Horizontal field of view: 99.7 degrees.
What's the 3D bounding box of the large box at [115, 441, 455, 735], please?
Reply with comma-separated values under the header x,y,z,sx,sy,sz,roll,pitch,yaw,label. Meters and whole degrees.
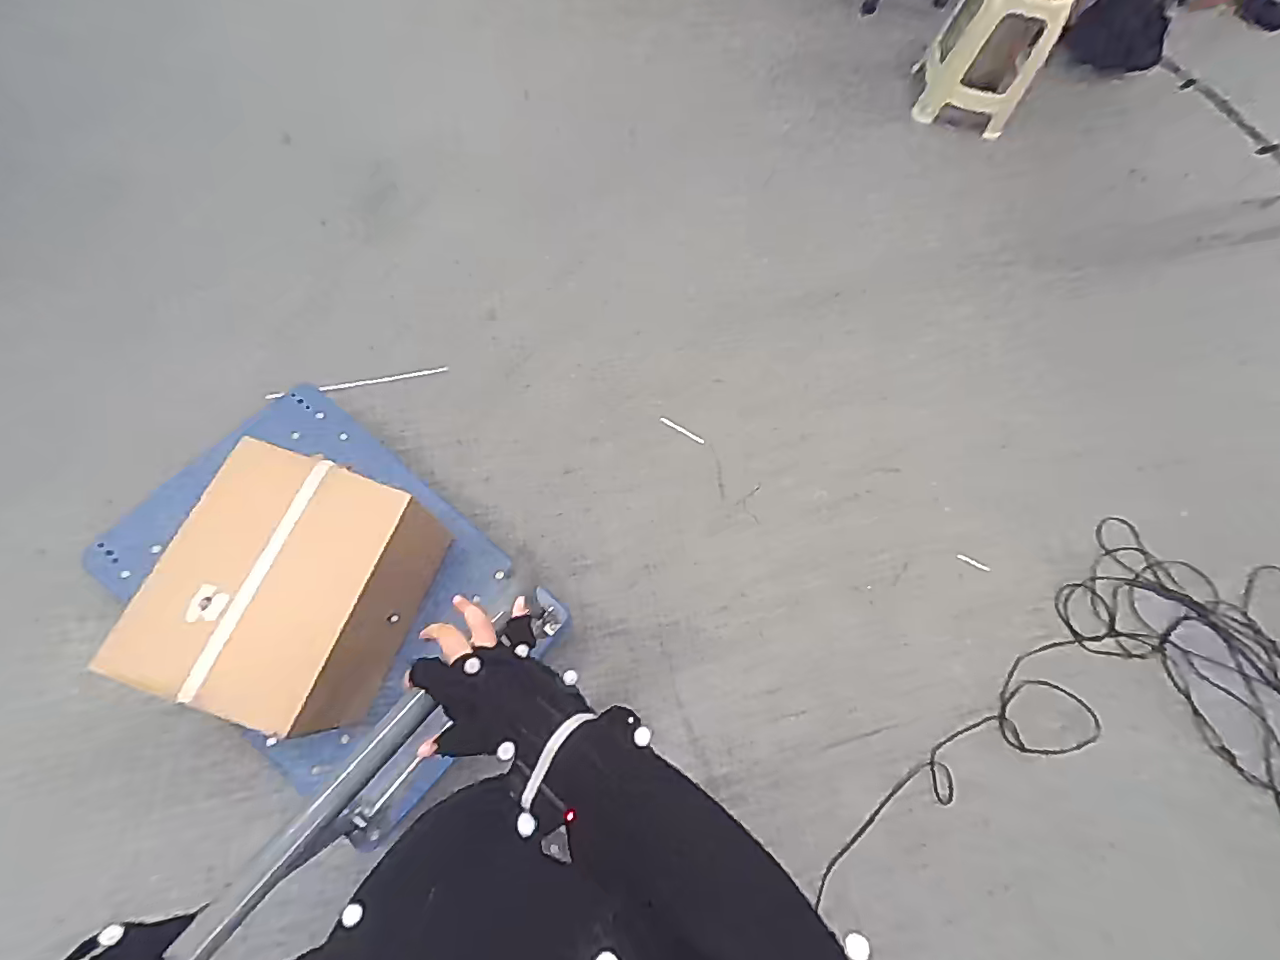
x,y,z,sx,sy,sz,roll,pitch,yaw,label
-0.596,0.200,1.008,0.320,0.320,0.408,19,70,2,large box
